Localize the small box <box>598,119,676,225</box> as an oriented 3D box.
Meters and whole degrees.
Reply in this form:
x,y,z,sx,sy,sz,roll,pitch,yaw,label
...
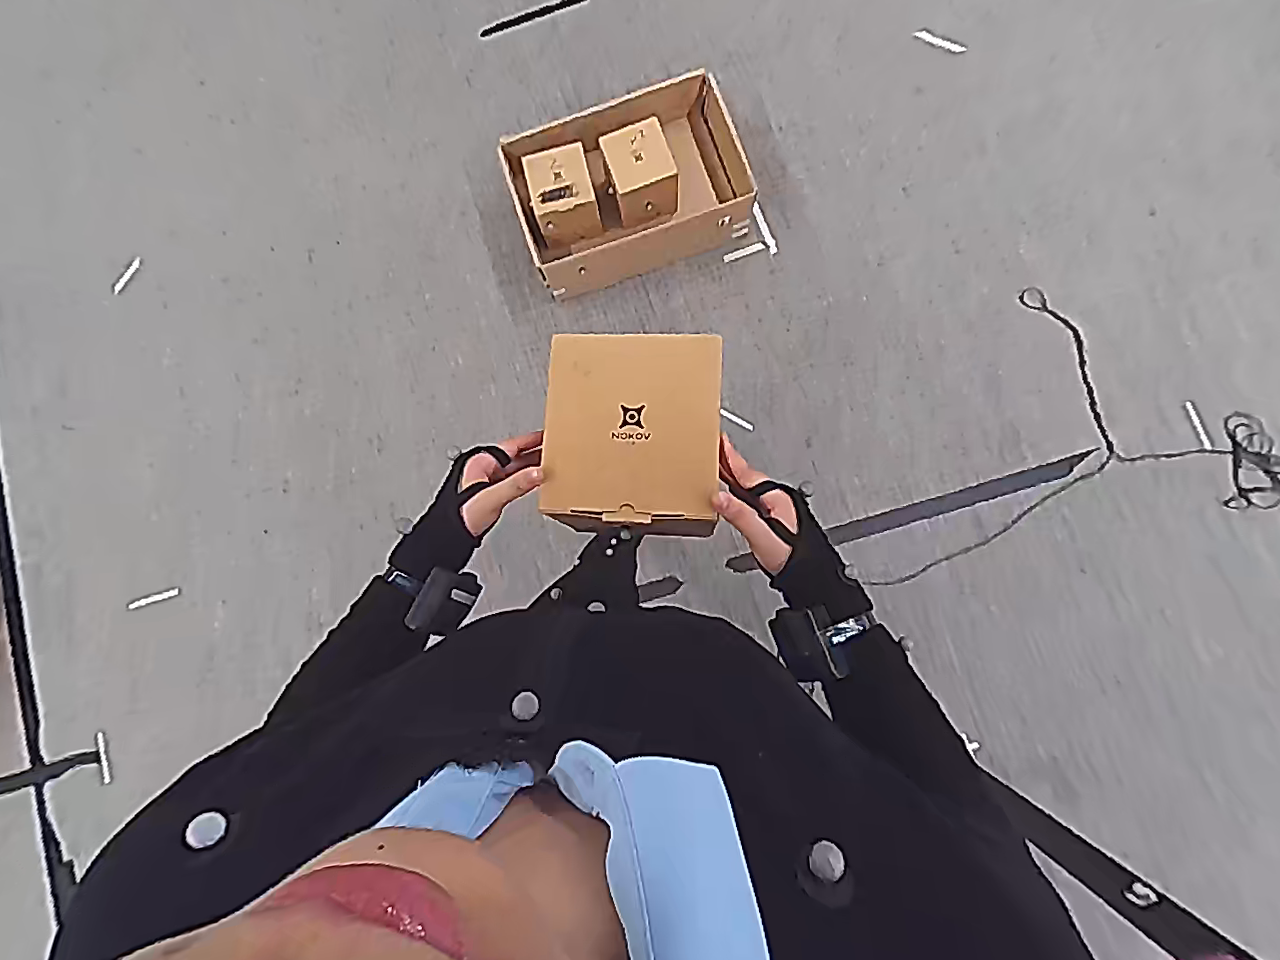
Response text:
x,y,z,sx,sy,sz,roll,pitch,yaw,label
-0.002,-0.835,1.492,0.168,0.176,0.179,-20,82,1,small box
